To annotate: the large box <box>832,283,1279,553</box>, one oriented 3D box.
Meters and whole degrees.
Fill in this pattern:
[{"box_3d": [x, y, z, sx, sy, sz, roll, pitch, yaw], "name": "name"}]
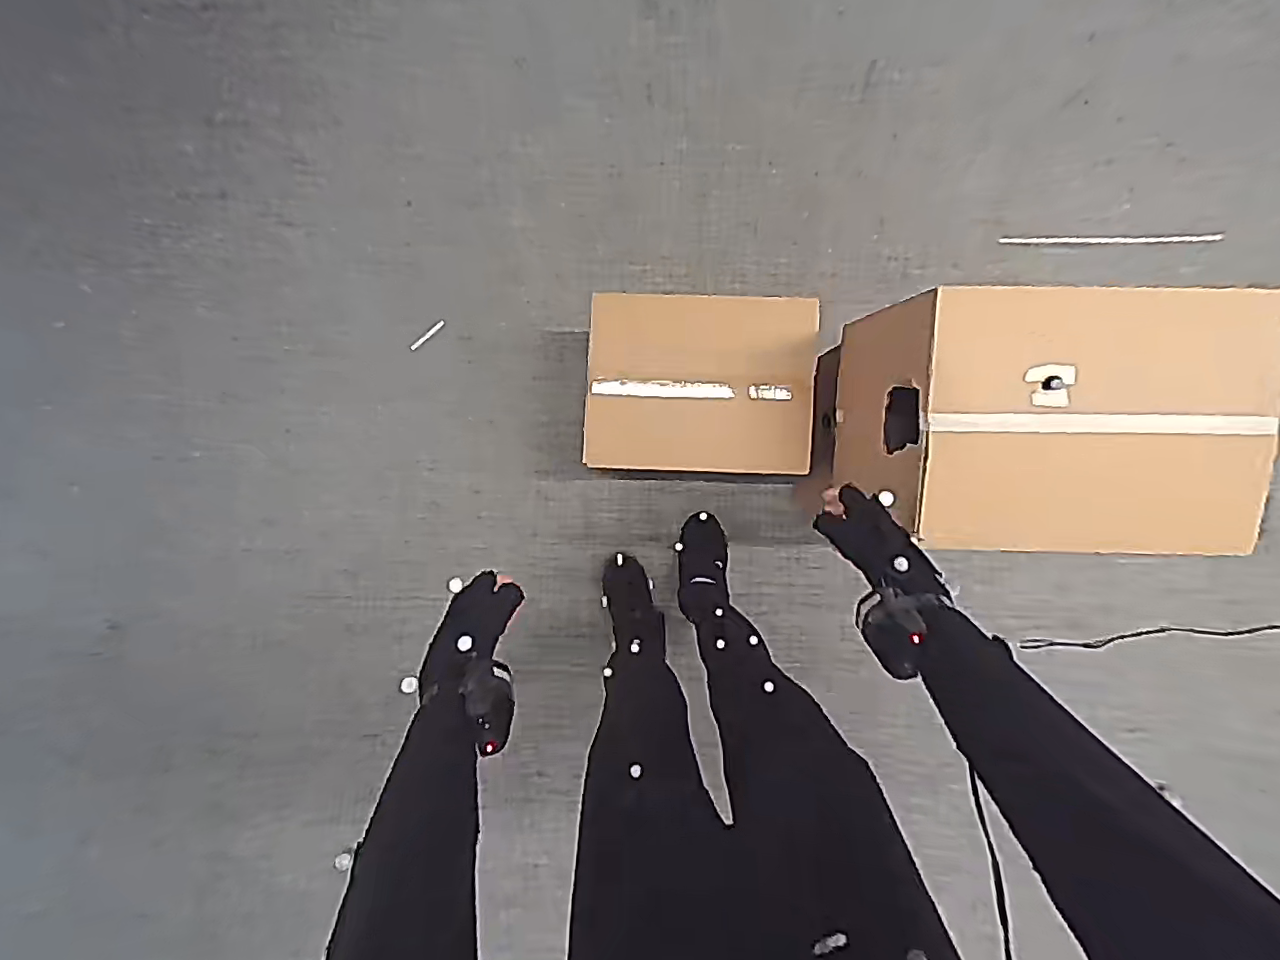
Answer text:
[{"box_3d": [0.531, -0.089, 0.776, 0.408, 0.320, 0.320, 1, 97, 2], "name": "large box"}]
